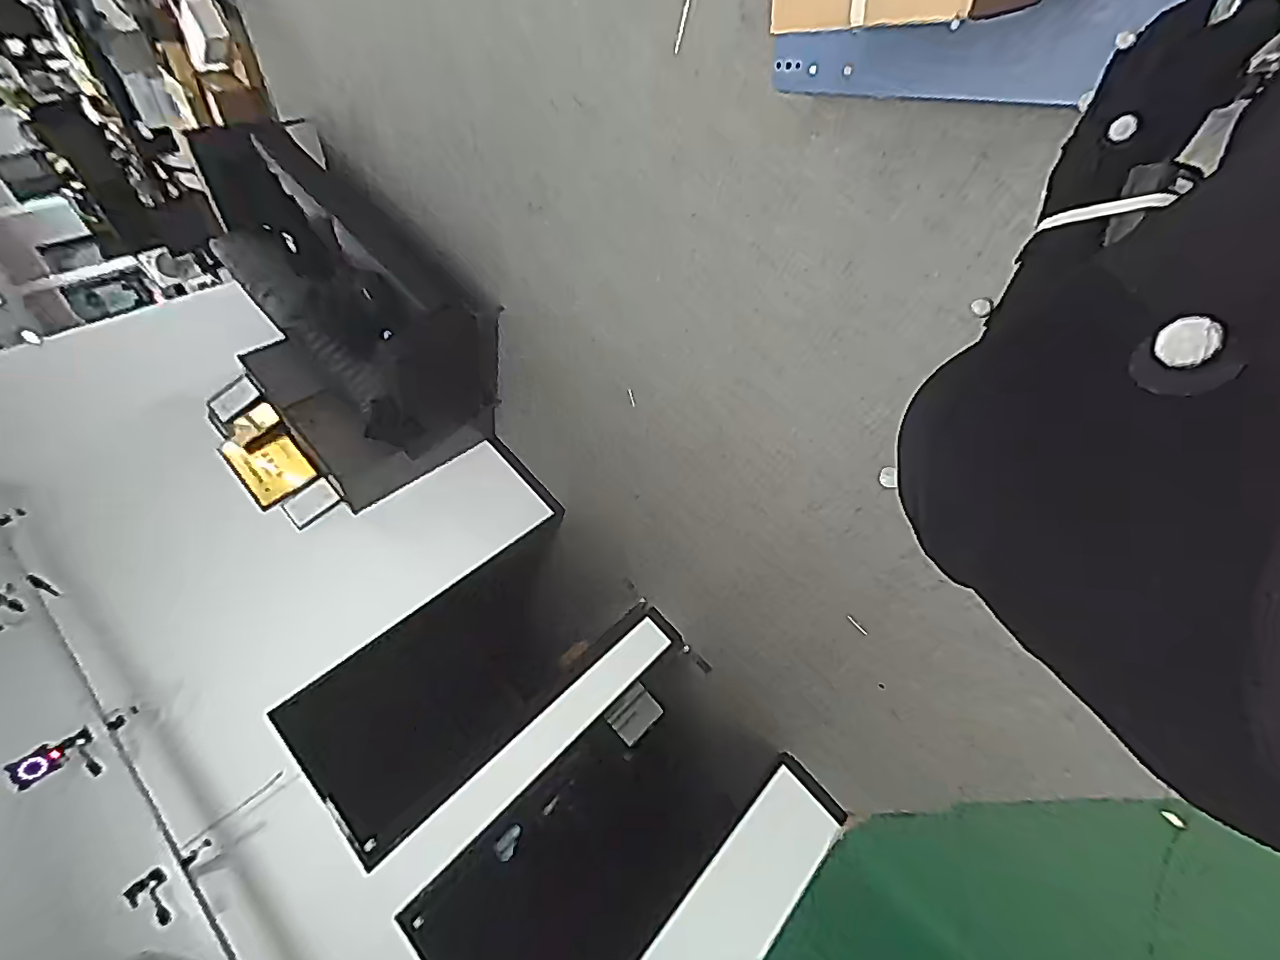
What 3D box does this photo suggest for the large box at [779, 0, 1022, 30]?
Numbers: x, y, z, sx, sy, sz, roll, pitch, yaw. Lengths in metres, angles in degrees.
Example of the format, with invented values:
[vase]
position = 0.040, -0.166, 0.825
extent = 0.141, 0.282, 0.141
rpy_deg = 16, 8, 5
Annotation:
[large box]
position = 0.422, -0.919, 0.760
extent = 0.320, 0.320, 0.408
rpy_deg = 30, 143, 34
